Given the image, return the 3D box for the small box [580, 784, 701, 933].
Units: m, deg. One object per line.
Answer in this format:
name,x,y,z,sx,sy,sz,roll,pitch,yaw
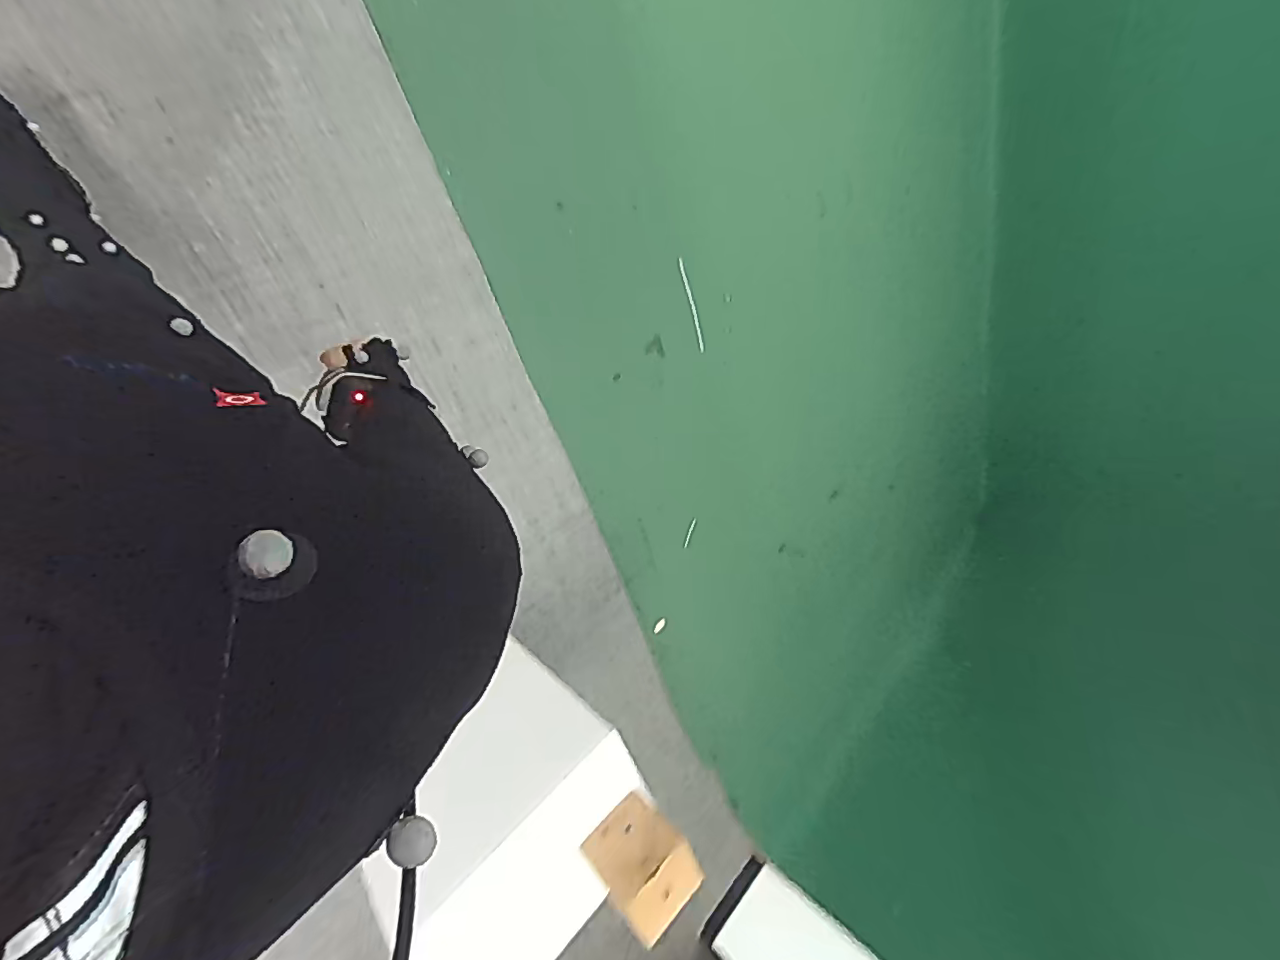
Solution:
small box,0.000,0.804,1.166,0.168,0.176,0.179,-36,123,-27
